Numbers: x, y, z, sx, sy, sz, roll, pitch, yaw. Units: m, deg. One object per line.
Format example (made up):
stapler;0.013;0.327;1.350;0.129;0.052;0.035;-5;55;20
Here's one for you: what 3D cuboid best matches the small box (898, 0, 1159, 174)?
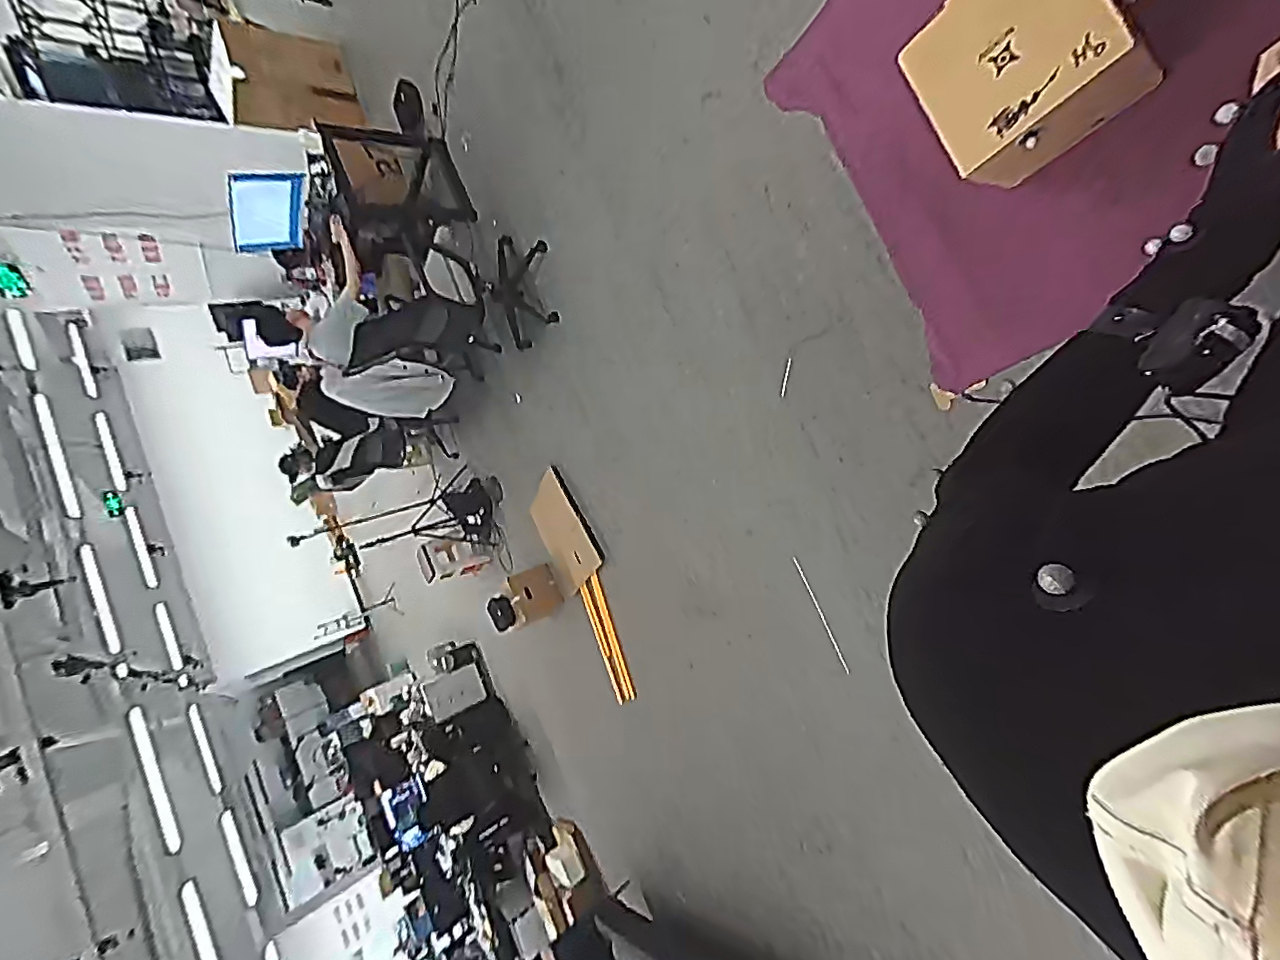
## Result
small box;0.443;-0.484;0.623;0.168;0.176;0.179;-31;80;54
